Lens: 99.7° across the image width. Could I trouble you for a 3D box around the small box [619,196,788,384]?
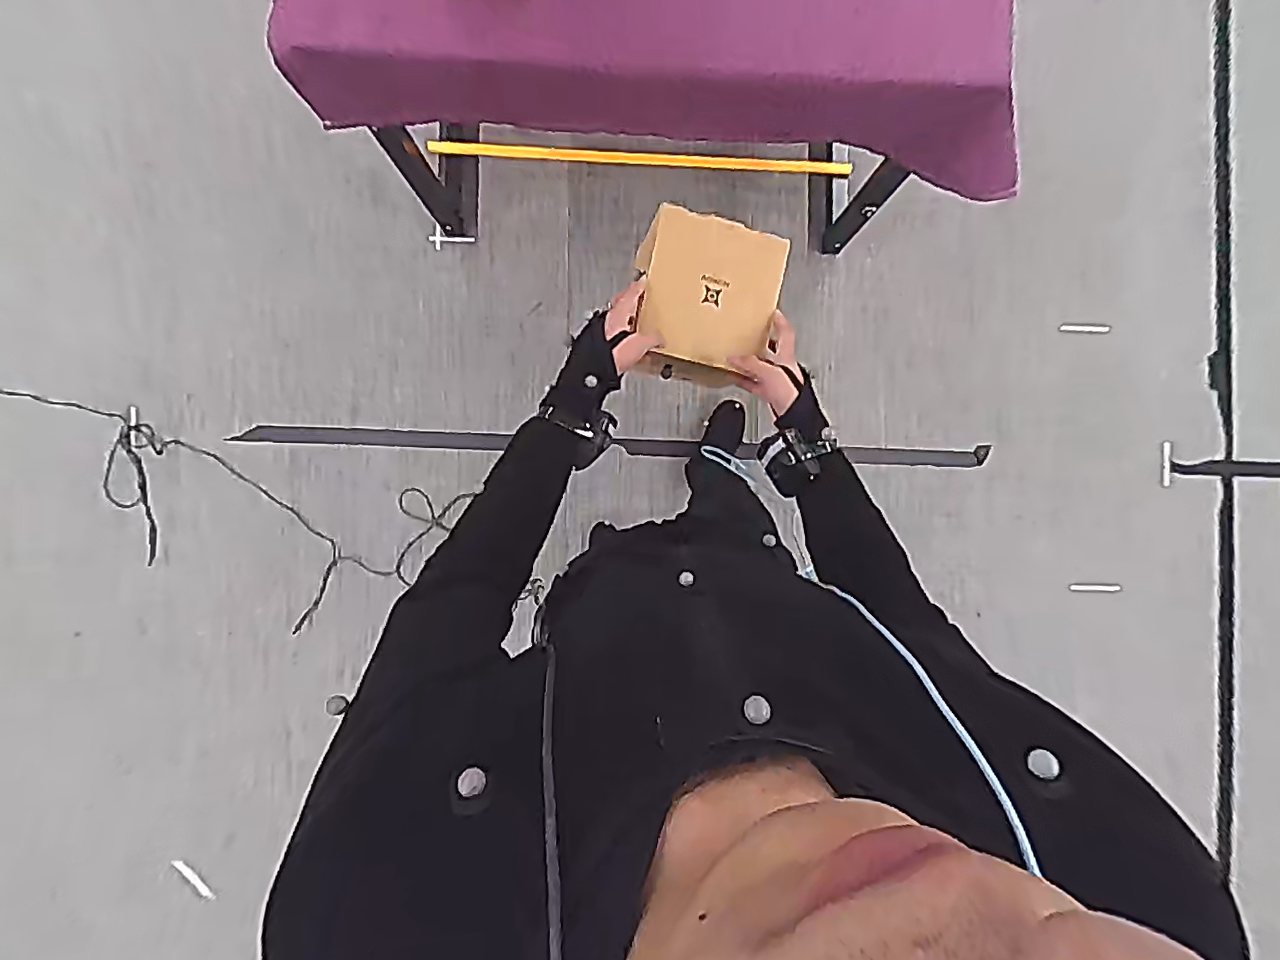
[{"bbox_3d":[0.072,-0.235,0.722,0.168,0.176,0.179,11,91,-10],"label":"small box"}]
